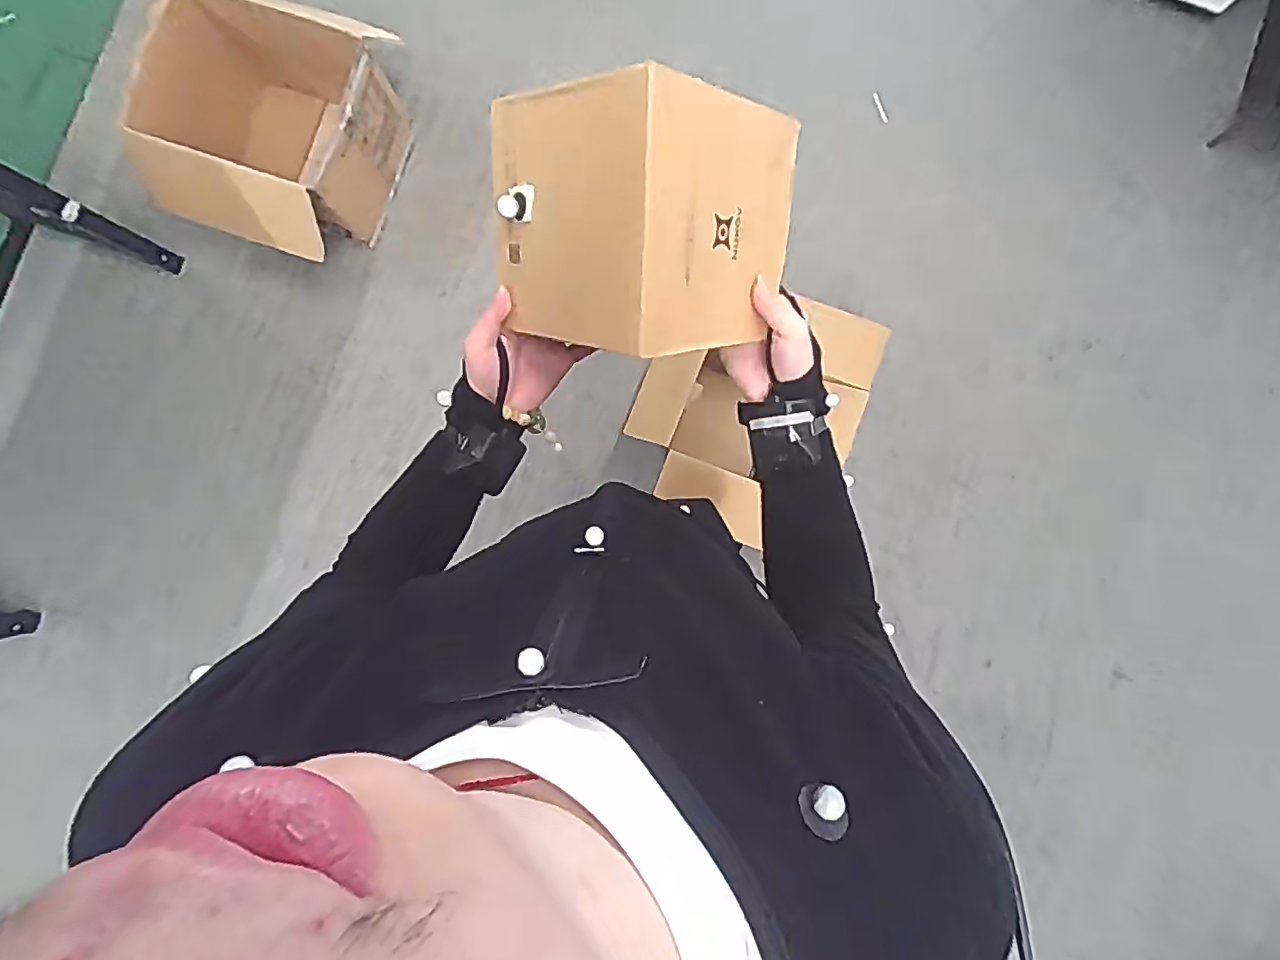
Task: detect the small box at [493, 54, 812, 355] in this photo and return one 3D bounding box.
[{"bbox_3d":[0.008,-0.200,0.428,0.176,0.179,0.168,22,120,39],"label":"small box"}]
